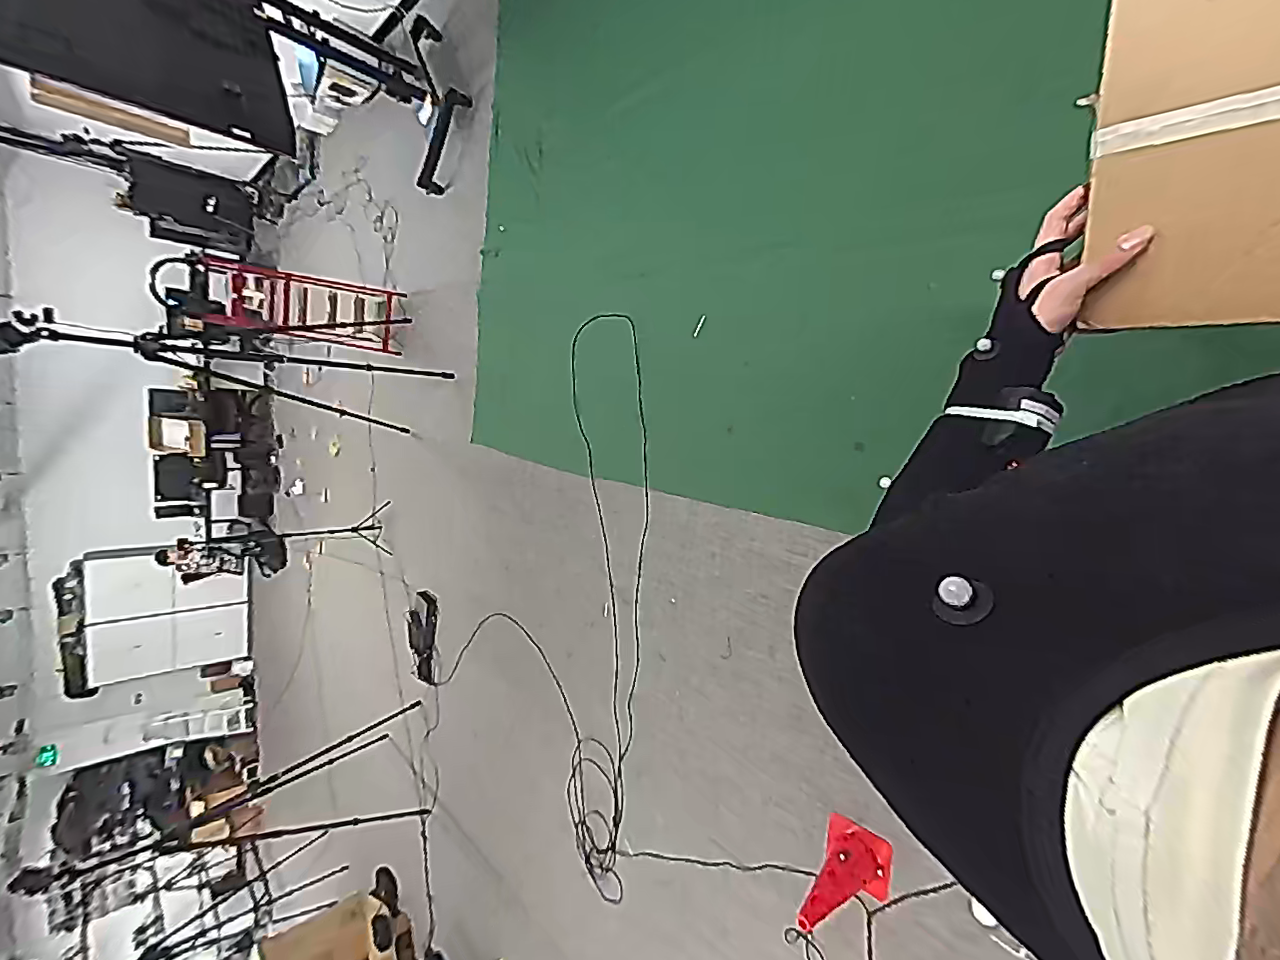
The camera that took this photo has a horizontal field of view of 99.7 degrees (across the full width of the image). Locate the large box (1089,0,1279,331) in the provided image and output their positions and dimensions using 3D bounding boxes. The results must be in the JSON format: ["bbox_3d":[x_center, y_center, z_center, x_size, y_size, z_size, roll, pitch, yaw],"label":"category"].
[{"bbox_3d":[0.642,-0.309,0.426,0.408,0.320,0.320,9,115,44],"label":"large box"}]

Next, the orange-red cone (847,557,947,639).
[{"bbox_3d":[0.664,0.350,1.489,0.199,0.360,0.198,22,106,44],"label":"orange-red cone"}]
